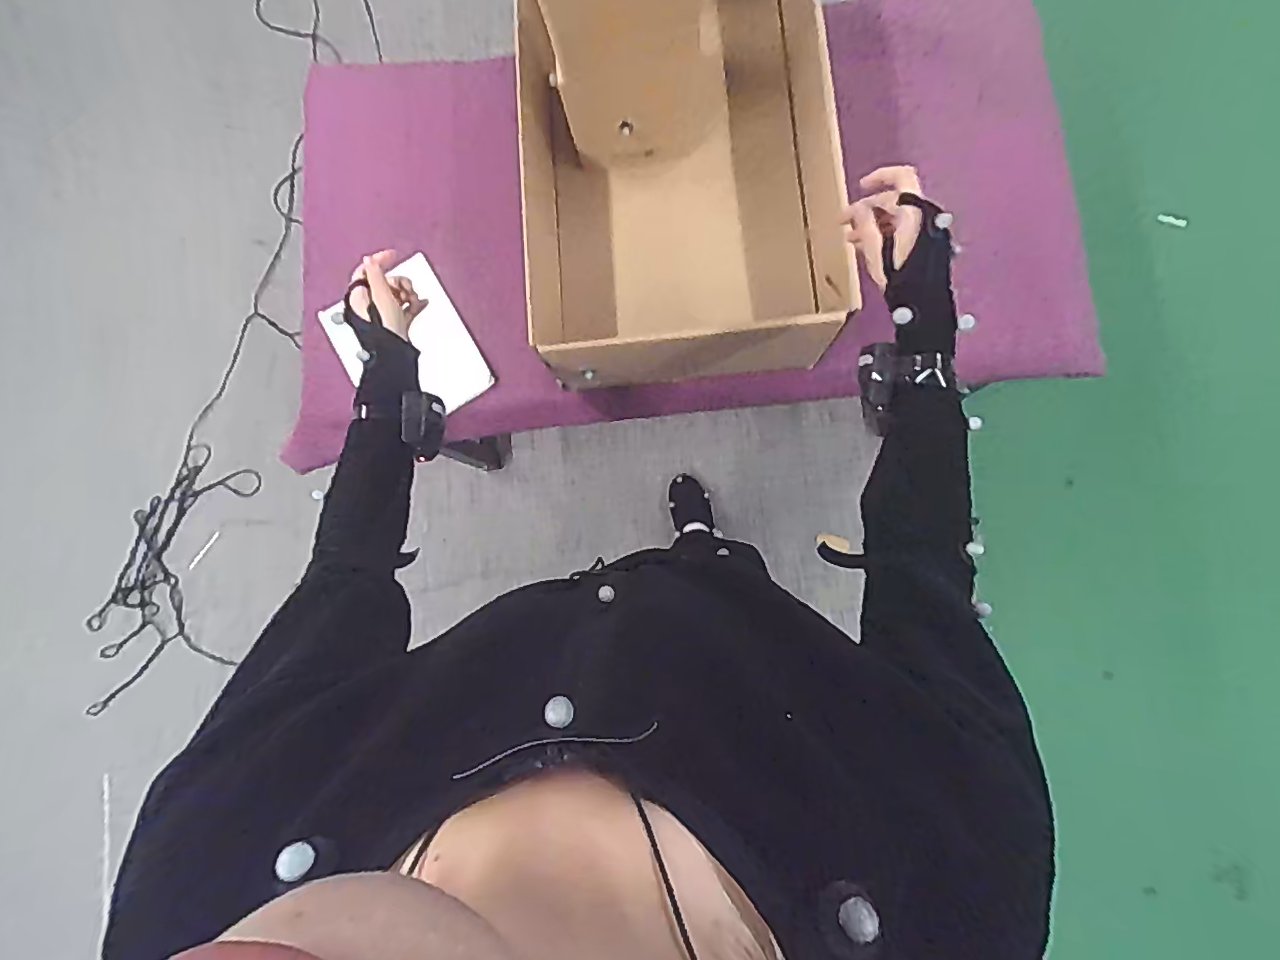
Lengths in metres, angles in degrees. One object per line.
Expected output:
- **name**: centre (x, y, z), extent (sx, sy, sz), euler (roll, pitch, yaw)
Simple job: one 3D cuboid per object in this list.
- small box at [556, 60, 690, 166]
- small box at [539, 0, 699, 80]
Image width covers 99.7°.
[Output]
- **small box**: centre (-0.019, -0.570, 0.755), extent (0.168, 0.176, 0.179), euler (-4, 84, 5)
- **small box**: centre (-0.030, -0.586, 0.595), extent (0.179, 0.176, 0.168), euler (-7, 83, 5)
